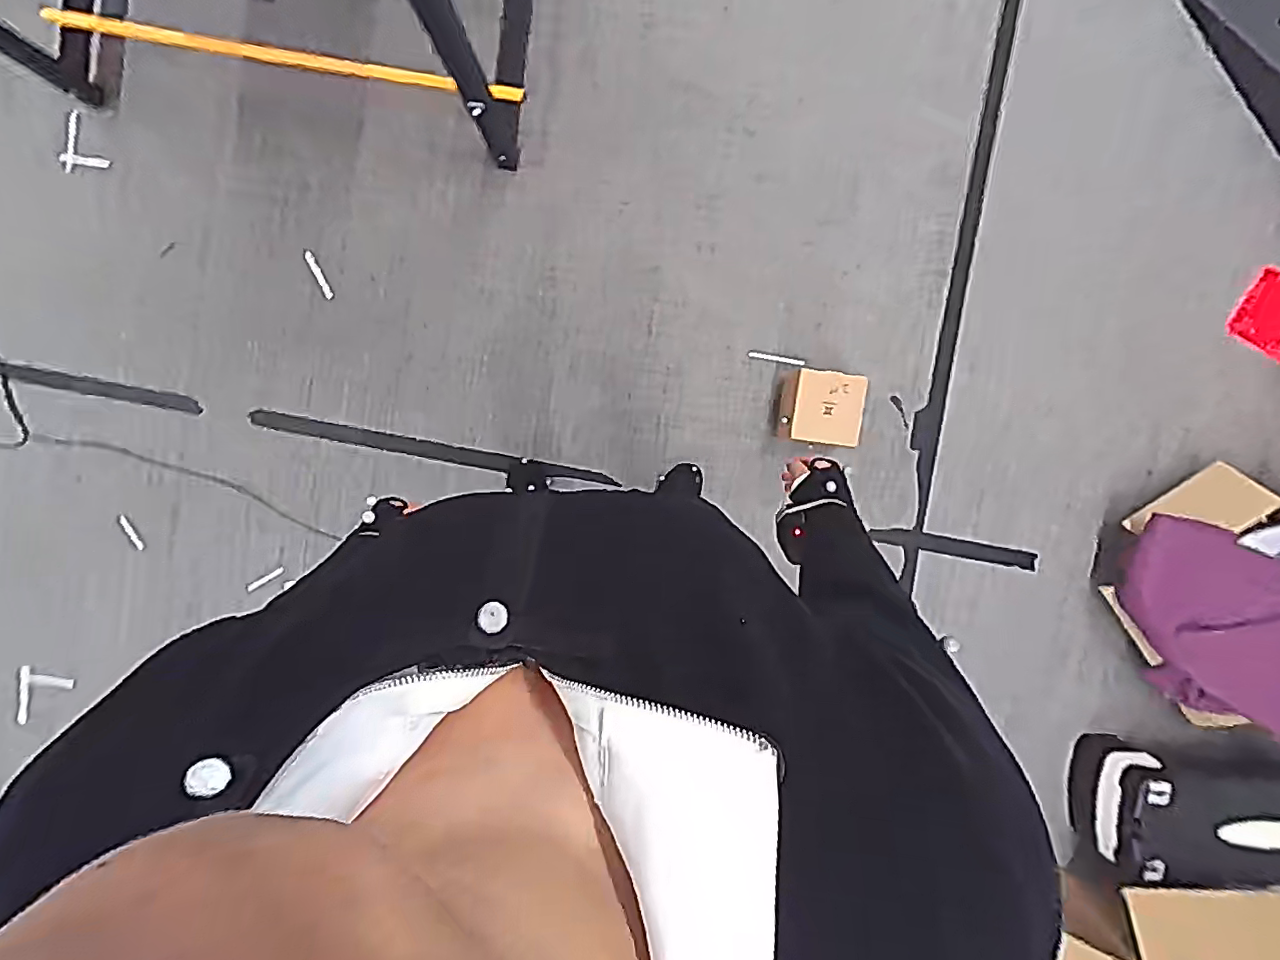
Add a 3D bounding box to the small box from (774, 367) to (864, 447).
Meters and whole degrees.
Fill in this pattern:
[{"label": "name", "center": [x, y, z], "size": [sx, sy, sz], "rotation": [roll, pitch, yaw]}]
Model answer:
[{"label": "small box", "center": [0.454, -0.183, 1.398], "size": [0.168, 0.176, 0.179], "rotation": [8, 93, 0]}]
